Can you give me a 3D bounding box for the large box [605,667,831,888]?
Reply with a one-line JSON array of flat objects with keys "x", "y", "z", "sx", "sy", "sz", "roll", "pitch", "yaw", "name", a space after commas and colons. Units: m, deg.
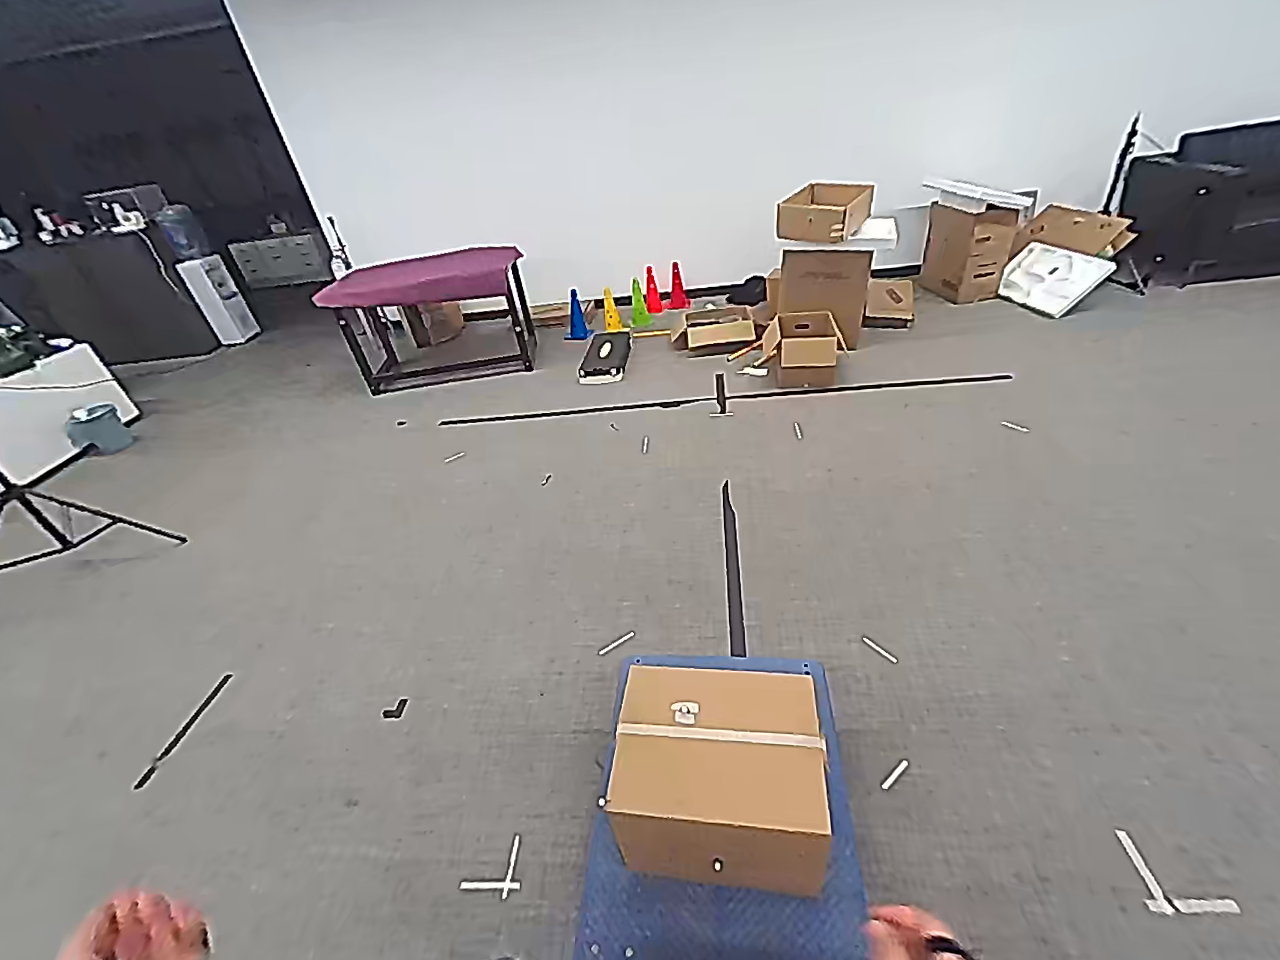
[{"x": 0.171, "y": 0.625, "z": 1.156, "sx": 0.408, "sy": 0.320, "sz": 0.320, "roll": -2, "pitch": 35, "yaw": 11, "name": "large box"}]
